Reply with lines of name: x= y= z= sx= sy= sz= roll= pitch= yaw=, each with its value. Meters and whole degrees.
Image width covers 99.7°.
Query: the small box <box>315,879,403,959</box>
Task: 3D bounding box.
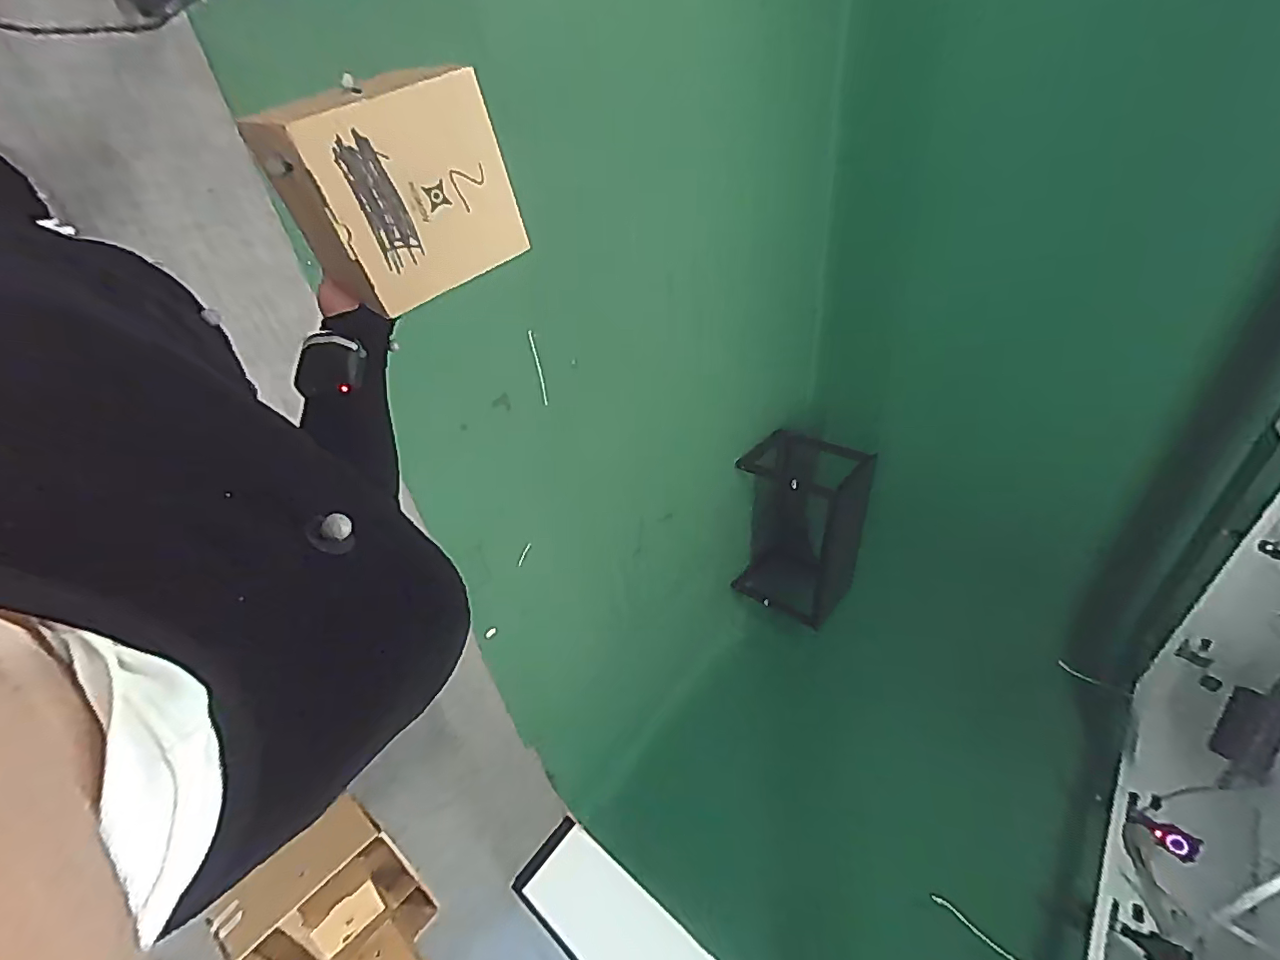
small box: x=-0.860 y=1.389 z=1.669 sx=0.168 sy=0.176 sz=0.179 roll=-38 pitch=134 yaw=-37

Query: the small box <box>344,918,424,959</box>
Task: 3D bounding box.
small box: x=-0.736 y=1.435 z=1.575 sx=0.168 sy=0.176 sz=0.179 roll=-38 pitch=134 yaw=-36
